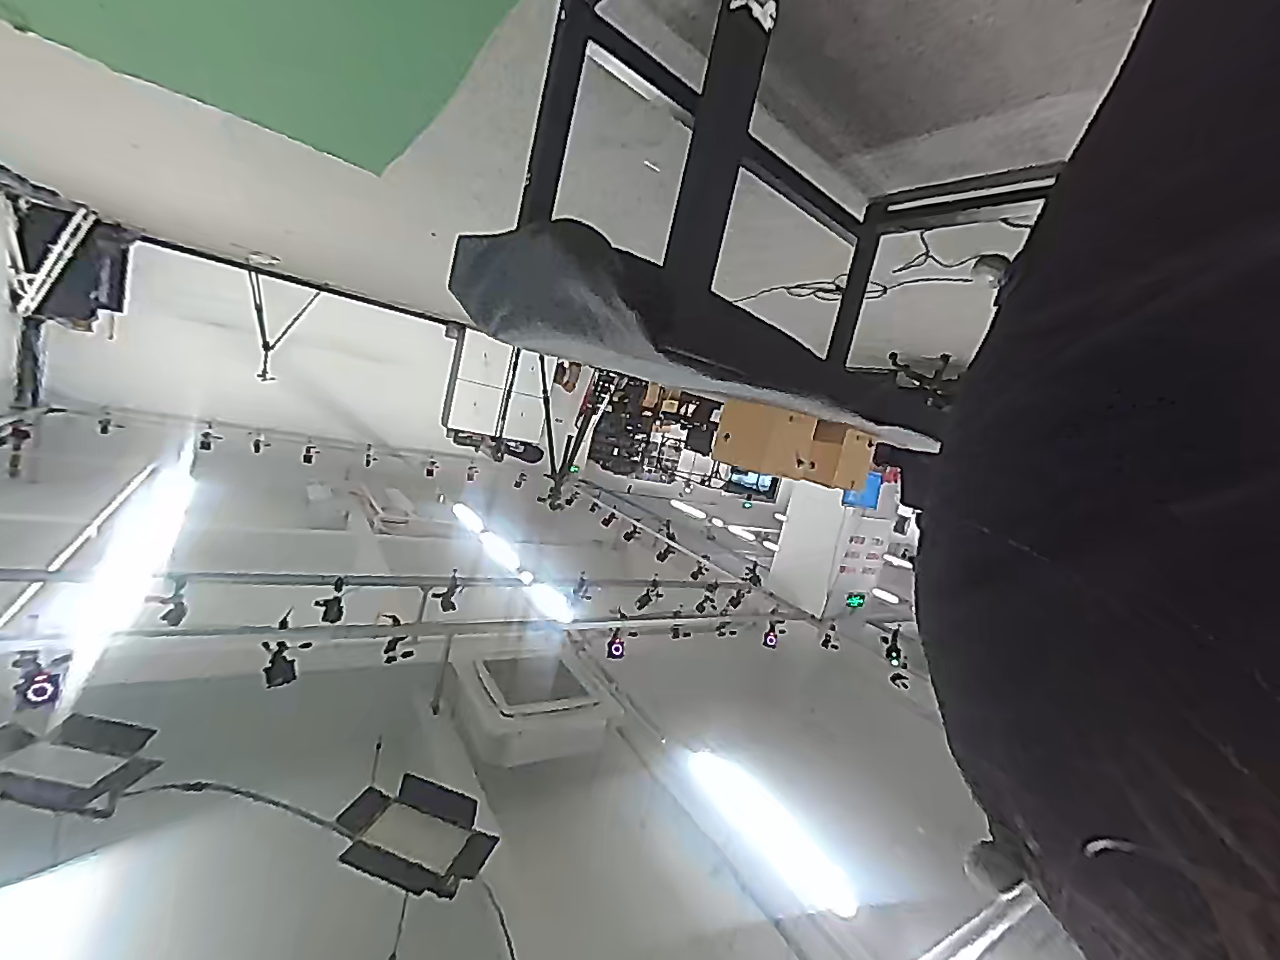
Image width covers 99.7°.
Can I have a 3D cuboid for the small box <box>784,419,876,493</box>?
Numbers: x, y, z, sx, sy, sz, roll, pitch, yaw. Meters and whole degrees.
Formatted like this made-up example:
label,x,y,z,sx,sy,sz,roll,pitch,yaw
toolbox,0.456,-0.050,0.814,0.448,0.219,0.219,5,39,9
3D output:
label,x,y,z,sx,sy,sz,roll,pitch,yaw
small box,0.543,-0.070,1.530,0.168,0.176,0.179,9,-171,-38
